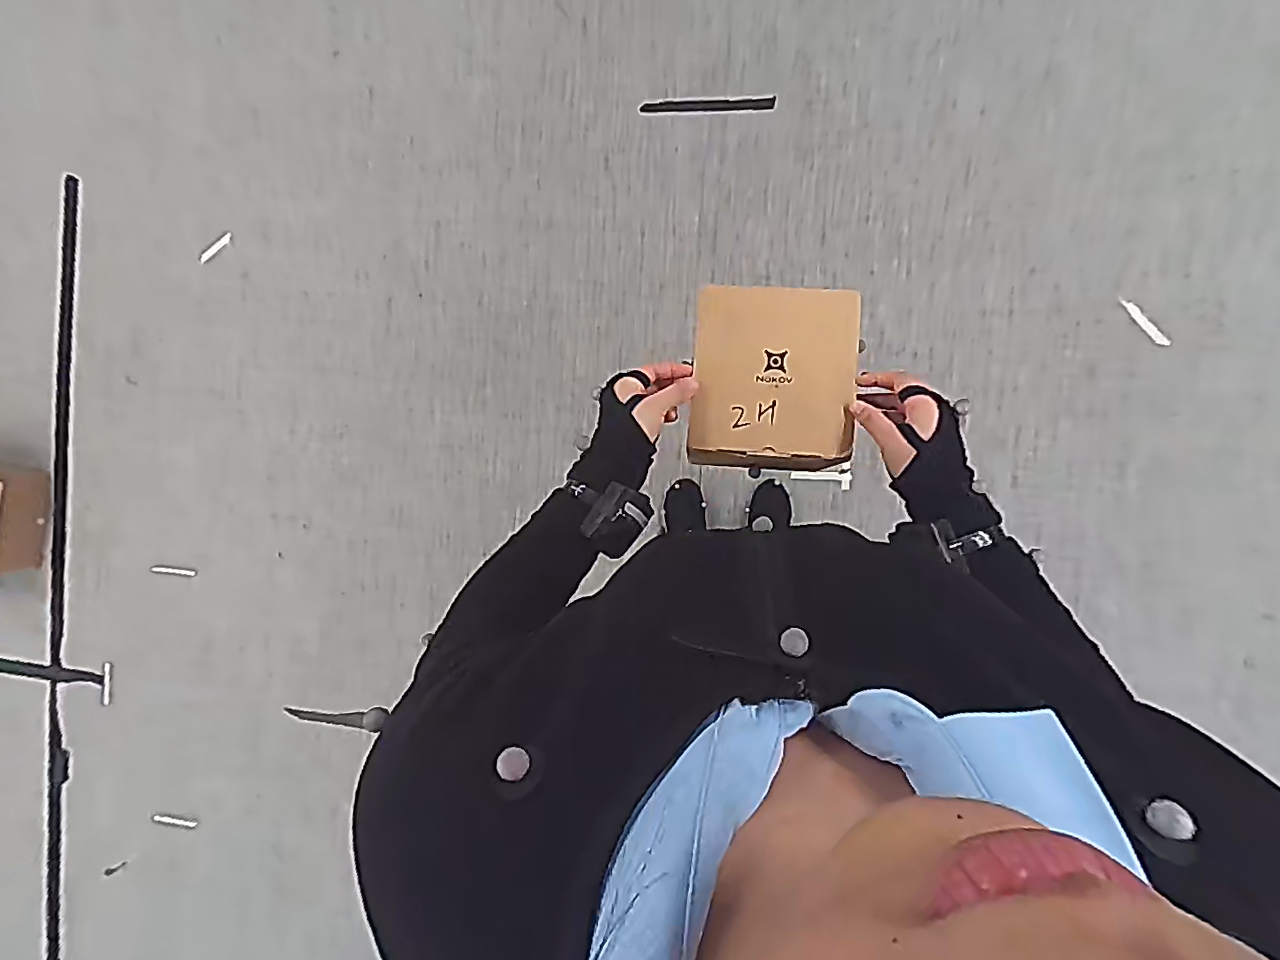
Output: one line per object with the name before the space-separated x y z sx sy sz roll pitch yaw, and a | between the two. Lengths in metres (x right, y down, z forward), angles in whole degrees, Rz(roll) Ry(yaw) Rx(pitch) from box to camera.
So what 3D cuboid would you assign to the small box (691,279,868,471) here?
small box | 0.147 -0.108 0.619 0.168 0.176 0.179 4 88 6
